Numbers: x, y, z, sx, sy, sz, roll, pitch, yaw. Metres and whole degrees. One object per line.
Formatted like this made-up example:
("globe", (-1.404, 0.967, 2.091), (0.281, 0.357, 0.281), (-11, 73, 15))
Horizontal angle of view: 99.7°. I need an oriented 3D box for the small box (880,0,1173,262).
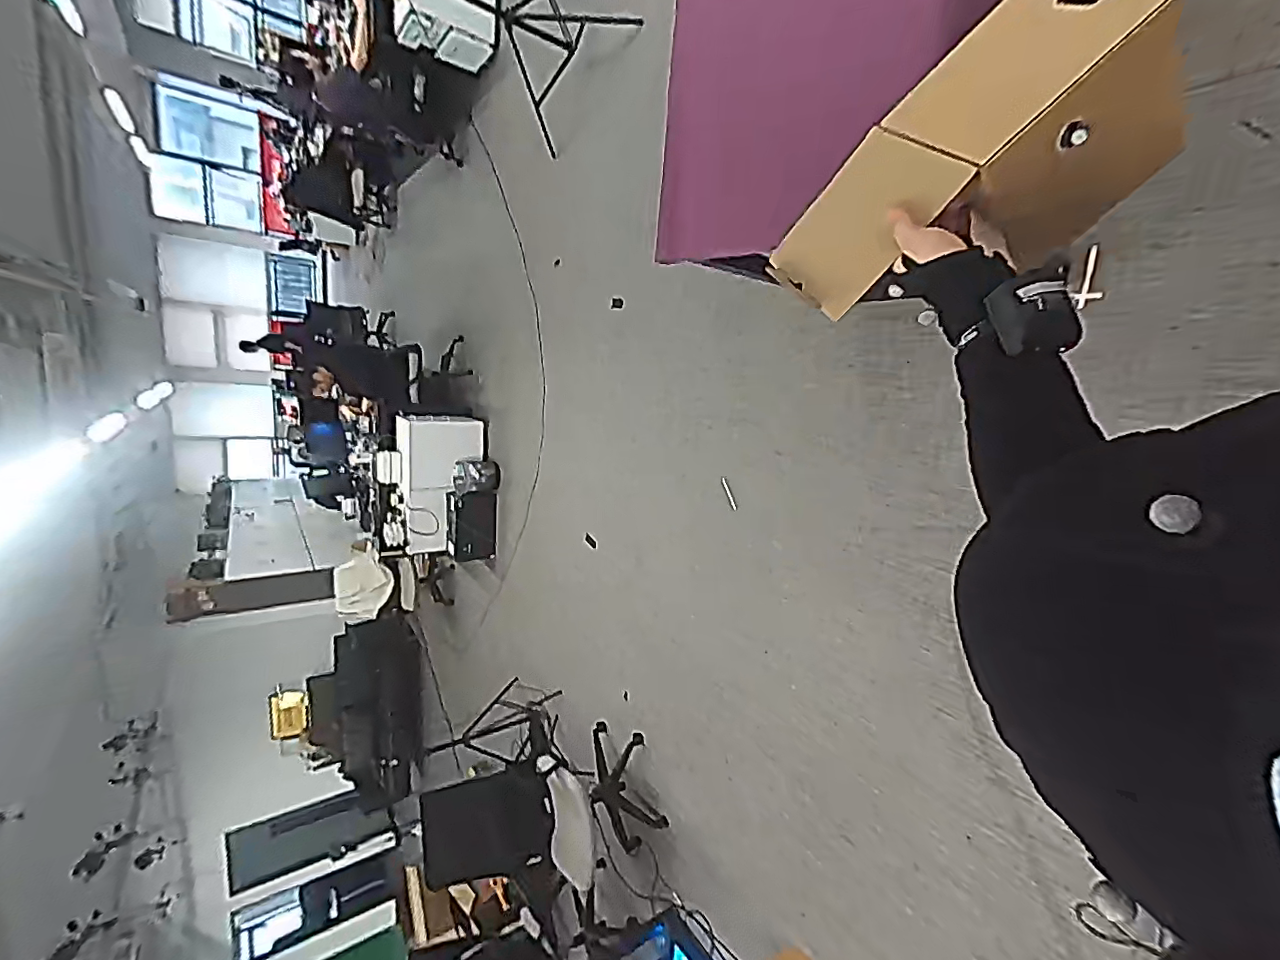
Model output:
("small box", (0.394, -0.365, 0.556), (0.179, 0.176, 0.168), (-41, 45, 20))
